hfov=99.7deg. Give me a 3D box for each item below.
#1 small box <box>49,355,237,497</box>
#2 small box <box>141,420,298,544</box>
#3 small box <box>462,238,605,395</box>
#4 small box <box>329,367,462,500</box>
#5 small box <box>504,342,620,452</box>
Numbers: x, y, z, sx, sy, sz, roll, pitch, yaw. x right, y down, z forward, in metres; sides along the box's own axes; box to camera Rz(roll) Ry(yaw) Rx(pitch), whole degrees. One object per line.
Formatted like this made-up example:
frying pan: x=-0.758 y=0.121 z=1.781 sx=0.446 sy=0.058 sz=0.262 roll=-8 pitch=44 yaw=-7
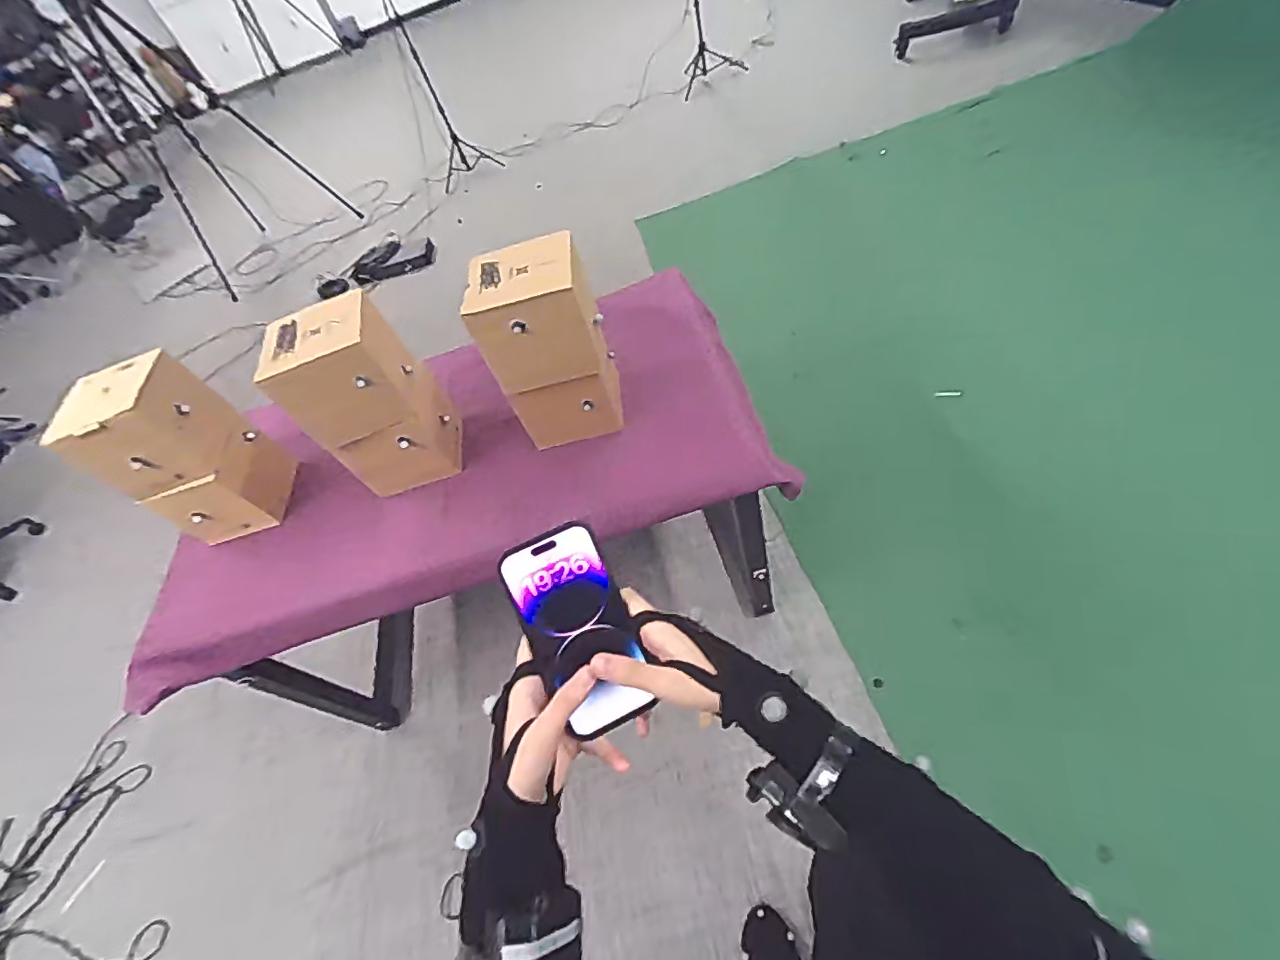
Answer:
small box: x=-0.883 y=-0.089 z=0.985 sx=0.168 sy=0.176 sz=0.179 roll=-20 pitch=52 yaw=0
small box: x=-0.842 y=0.013 z=1.107 sx=0.168 sy=0.176 sz=0.179 roll=-17 pitch=51 yaw=4
small box: x=-0.167 y=-0.264 z=0.898 sx=0.179 sy=0.176 sz=0.168 roll=-12 pitch=51 yaw=7
small box: x=-0.467 y=-0.088 z=1.066 sx=0.179 sy=0.176 sz=0.168 roll=-17 pitch=51 yaw=4
small box: x=-0.139 y=-0.177 z=1.035 sx=0.179 sy=0.176 sz=0.168 roll=-13 pitch=51 yaw=9
